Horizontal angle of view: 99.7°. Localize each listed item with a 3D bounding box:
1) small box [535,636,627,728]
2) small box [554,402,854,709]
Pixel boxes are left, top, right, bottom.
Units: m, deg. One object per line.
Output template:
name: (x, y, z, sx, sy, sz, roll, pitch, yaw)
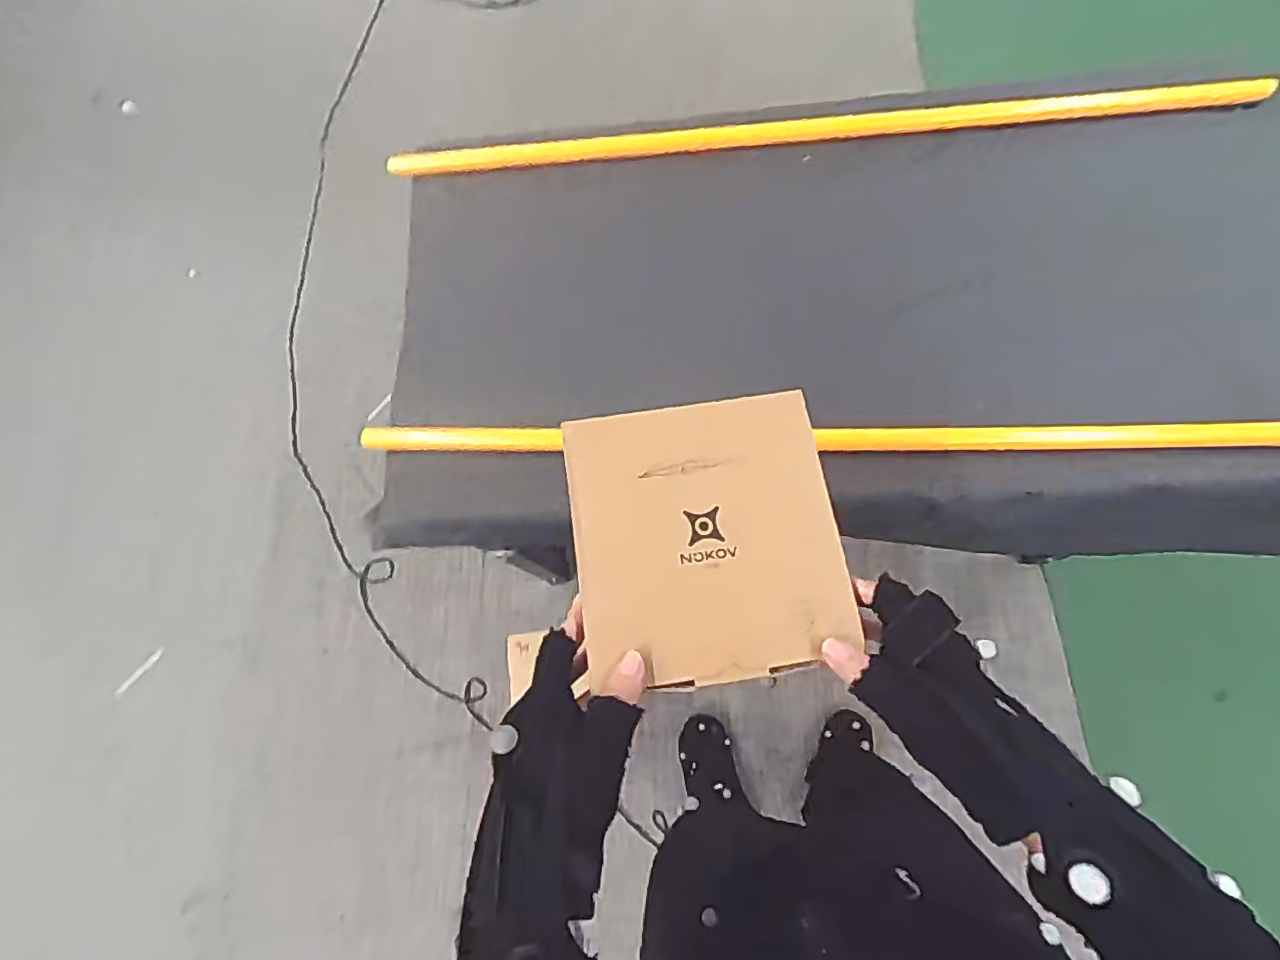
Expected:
small box: (-0.127, 0.439, 1.200, 0.168, 0.176, 0.179, -10, 72, 3)
small box: (0.035, 0.064, 0.416, 0.168, 0.176, 0.179, -9, 71, -3)
